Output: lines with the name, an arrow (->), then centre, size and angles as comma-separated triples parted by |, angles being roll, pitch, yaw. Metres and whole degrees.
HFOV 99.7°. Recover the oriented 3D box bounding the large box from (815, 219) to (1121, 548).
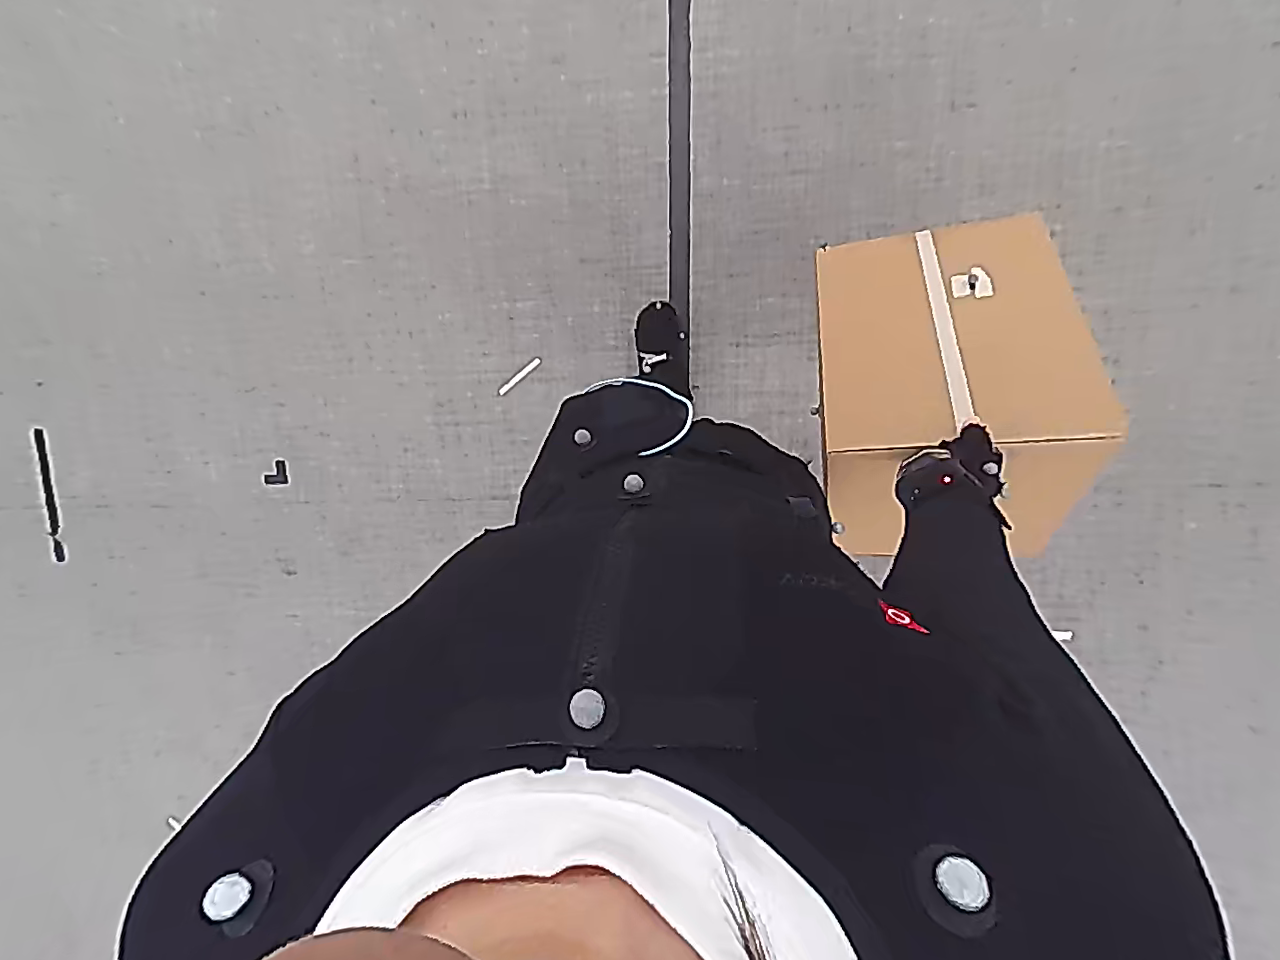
large box -> 0.455, -0.136, 0.866 | 0.320, 0.320, 0.408 | -2, 56, 16
